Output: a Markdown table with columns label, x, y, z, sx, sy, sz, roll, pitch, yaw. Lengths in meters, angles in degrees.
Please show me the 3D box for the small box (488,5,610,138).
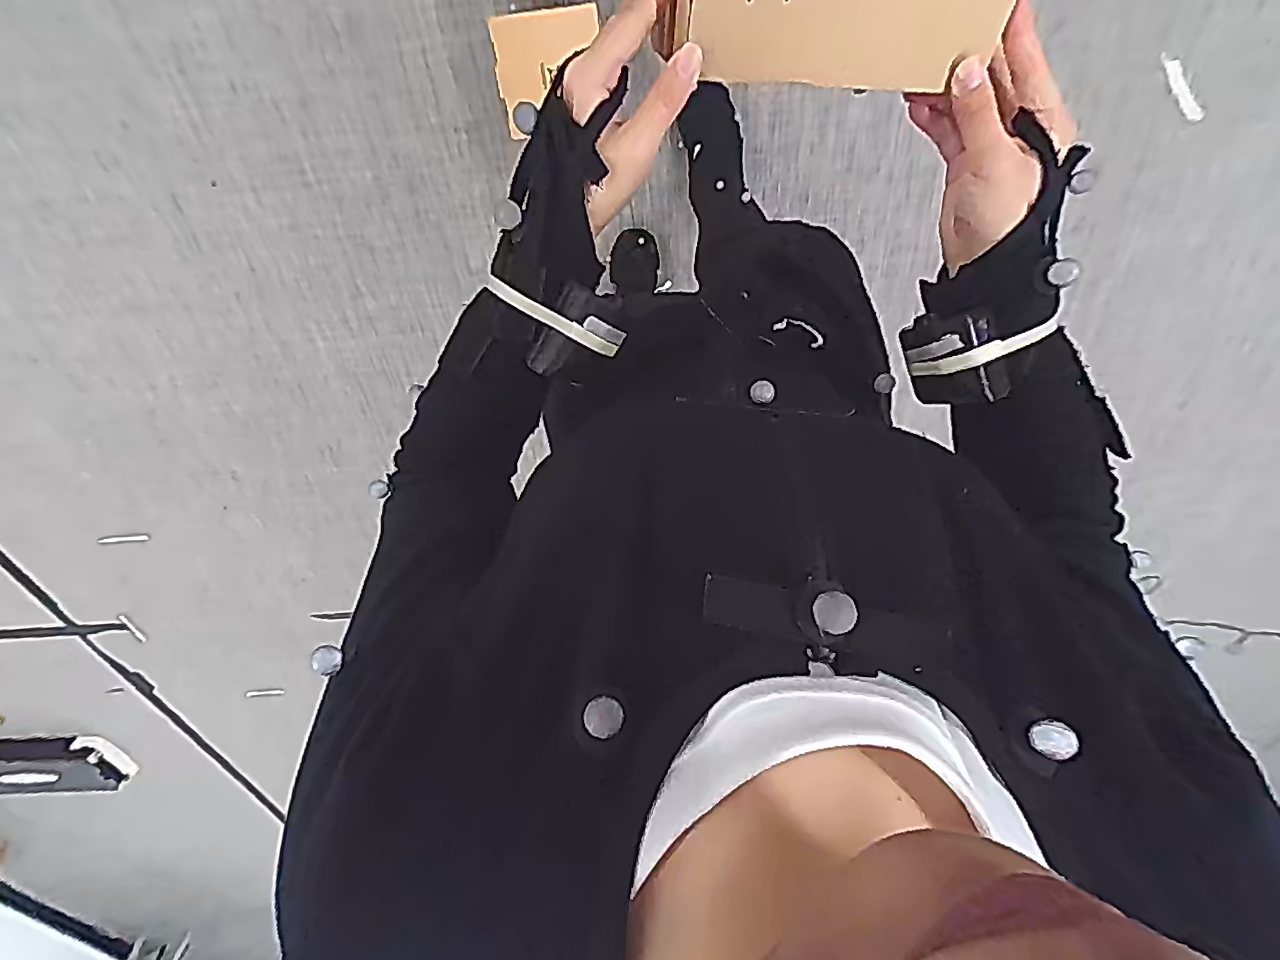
| label | x | y | z | sx | sy | sz | roll | pitch | yaw |
| --- | --- | --- | --- | --- | --- | --- | --- | --- | --- |
| small box | -0.148 | -0.714 | 0.952 | 0.179 | 0.176 | 0.168 | -5 | 126 | 3 |
